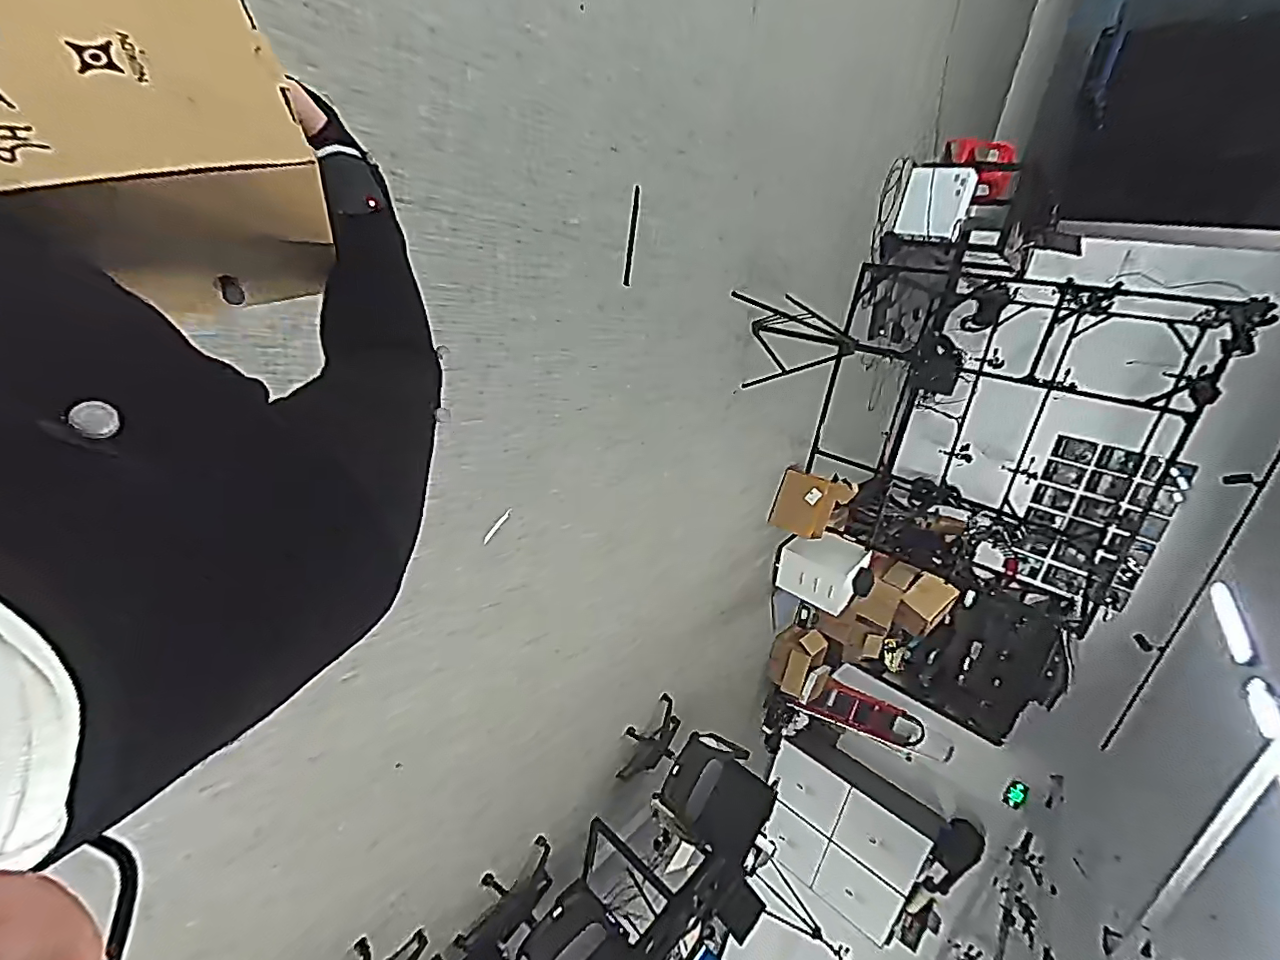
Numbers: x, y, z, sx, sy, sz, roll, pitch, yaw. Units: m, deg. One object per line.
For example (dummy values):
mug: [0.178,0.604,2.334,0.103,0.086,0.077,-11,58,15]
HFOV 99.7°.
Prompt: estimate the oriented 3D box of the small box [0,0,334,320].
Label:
small box: [-0.365,-0.252,0.430,0.179,0.176,0.168,-23,87,-27]
